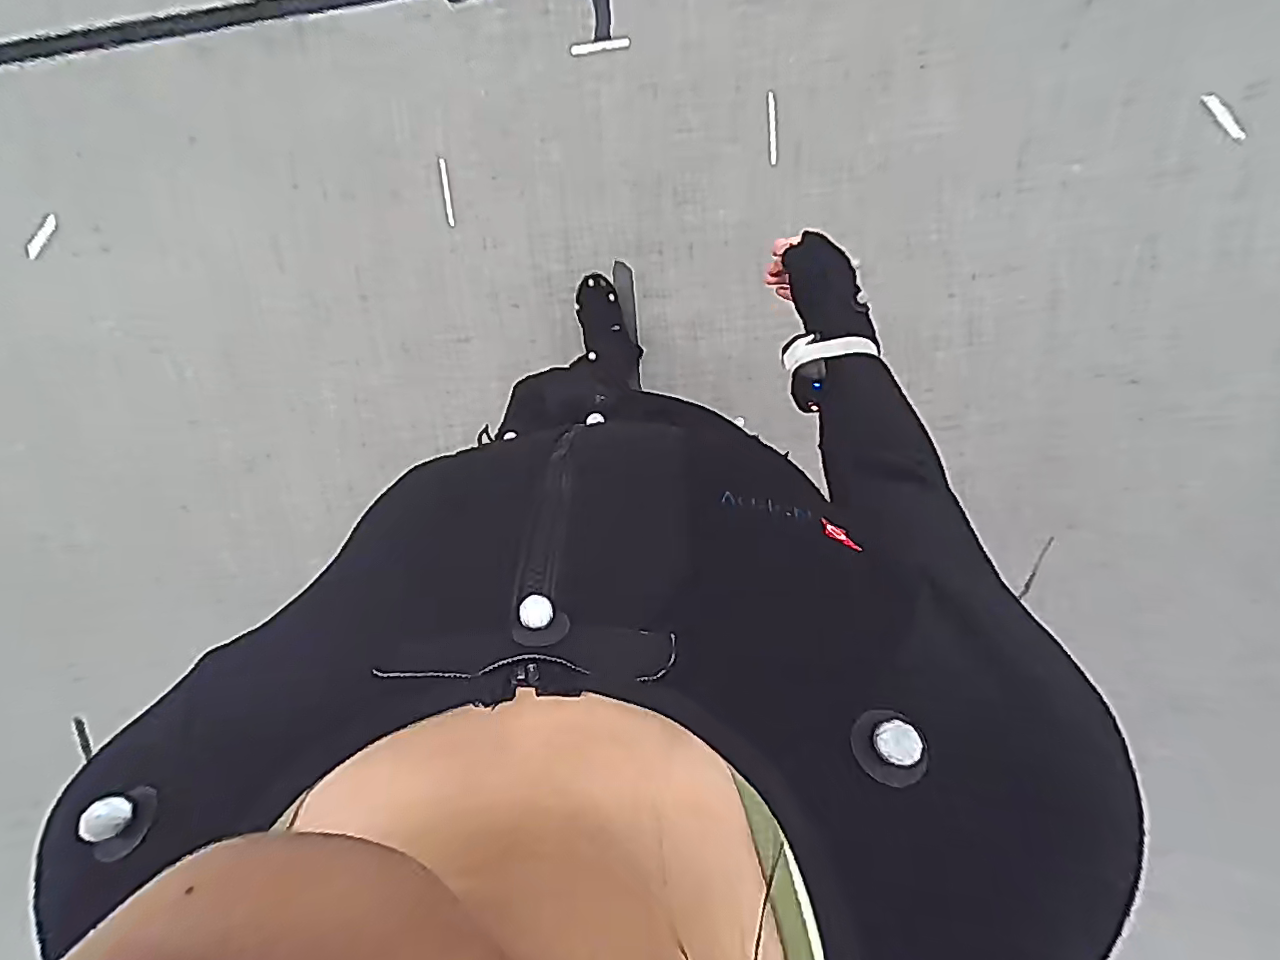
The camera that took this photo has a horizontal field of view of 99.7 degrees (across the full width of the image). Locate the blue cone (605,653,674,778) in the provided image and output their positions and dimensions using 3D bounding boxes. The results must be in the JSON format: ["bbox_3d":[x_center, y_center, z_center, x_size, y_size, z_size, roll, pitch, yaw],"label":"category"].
[{"bbox_3d":[-0.009,0.633,1.412,0.193,0.380,0.192,-6,103,4],"label":"blue cone"}]
